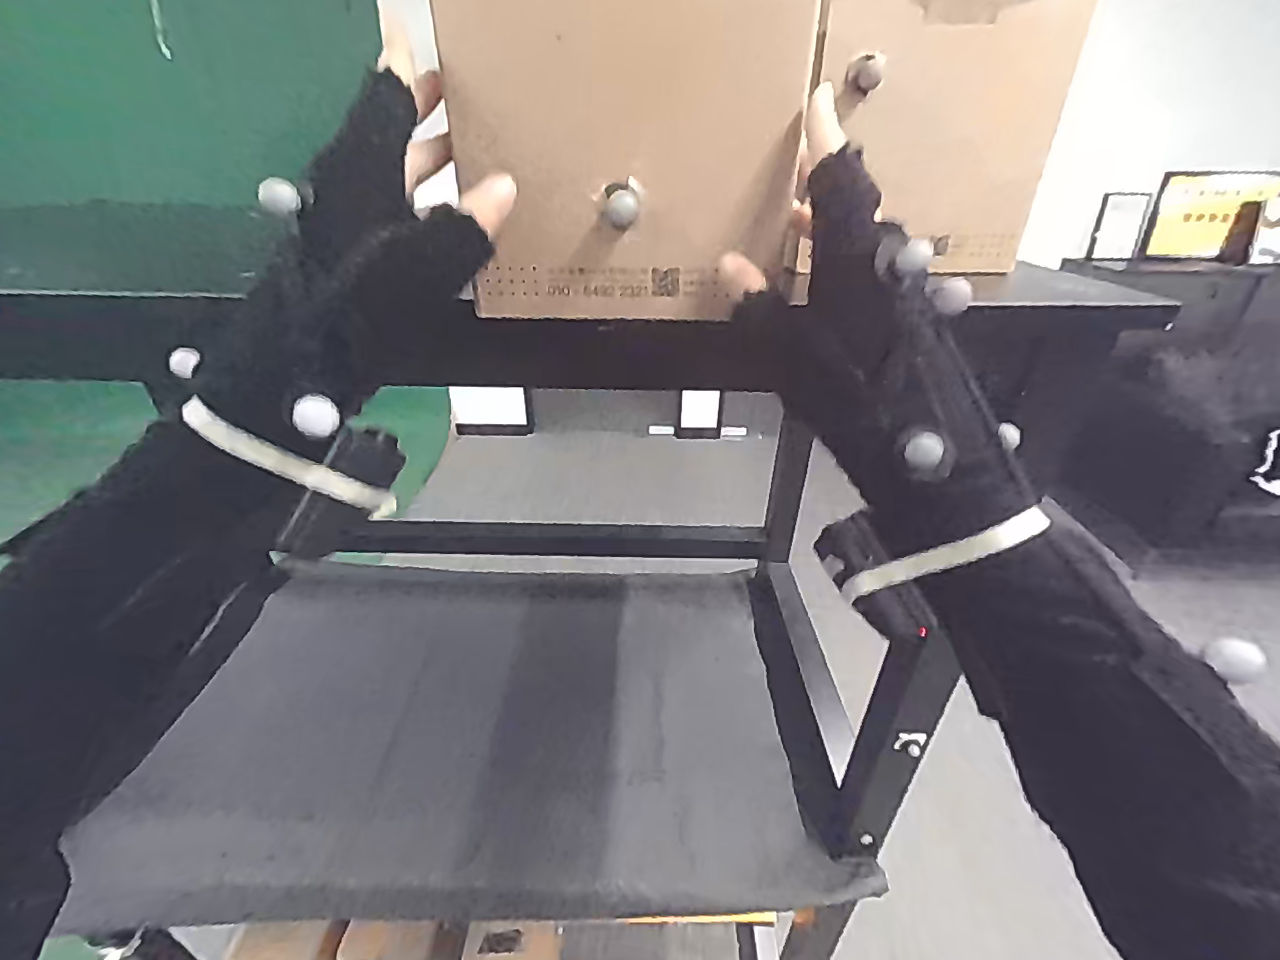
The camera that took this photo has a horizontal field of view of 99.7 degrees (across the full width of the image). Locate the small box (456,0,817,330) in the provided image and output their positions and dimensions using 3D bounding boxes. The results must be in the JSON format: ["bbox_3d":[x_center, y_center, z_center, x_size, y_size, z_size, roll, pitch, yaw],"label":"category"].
[{"bbox_3d":[-0.003,-0.202,0.338,0.168,0.176,0.179,1,31,2],"label":"small box"}]
